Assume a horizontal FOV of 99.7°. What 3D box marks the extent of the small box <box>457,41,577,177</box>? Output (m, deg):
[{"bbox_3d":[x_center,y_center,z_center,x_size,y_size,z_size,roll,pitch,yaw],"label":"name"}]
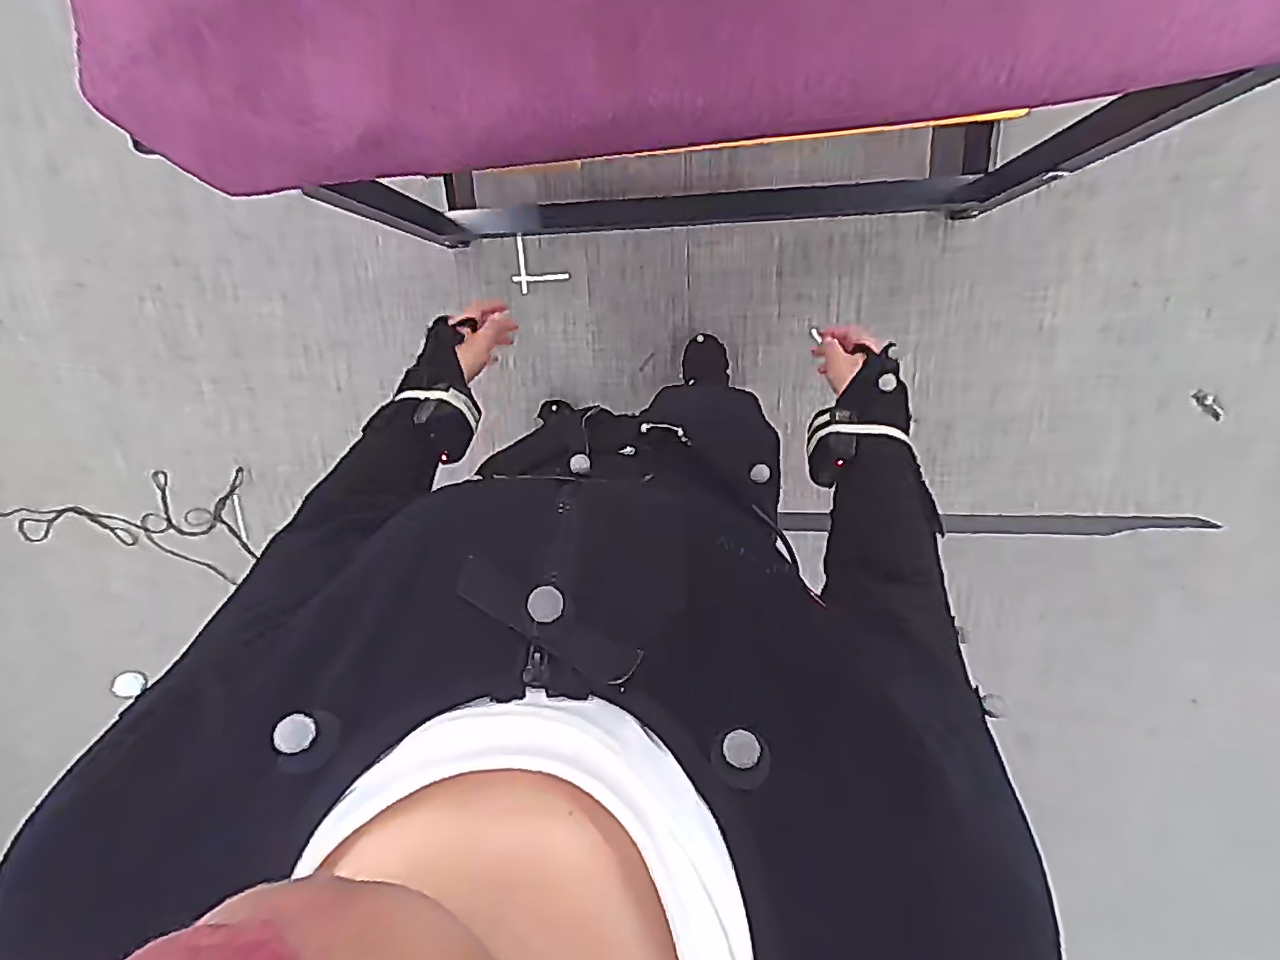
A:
[{"bbox_3d":[-0.220,-0.687,1.021,0.179,0.176,0.168,-2,106,5],"label":"small box"}]
